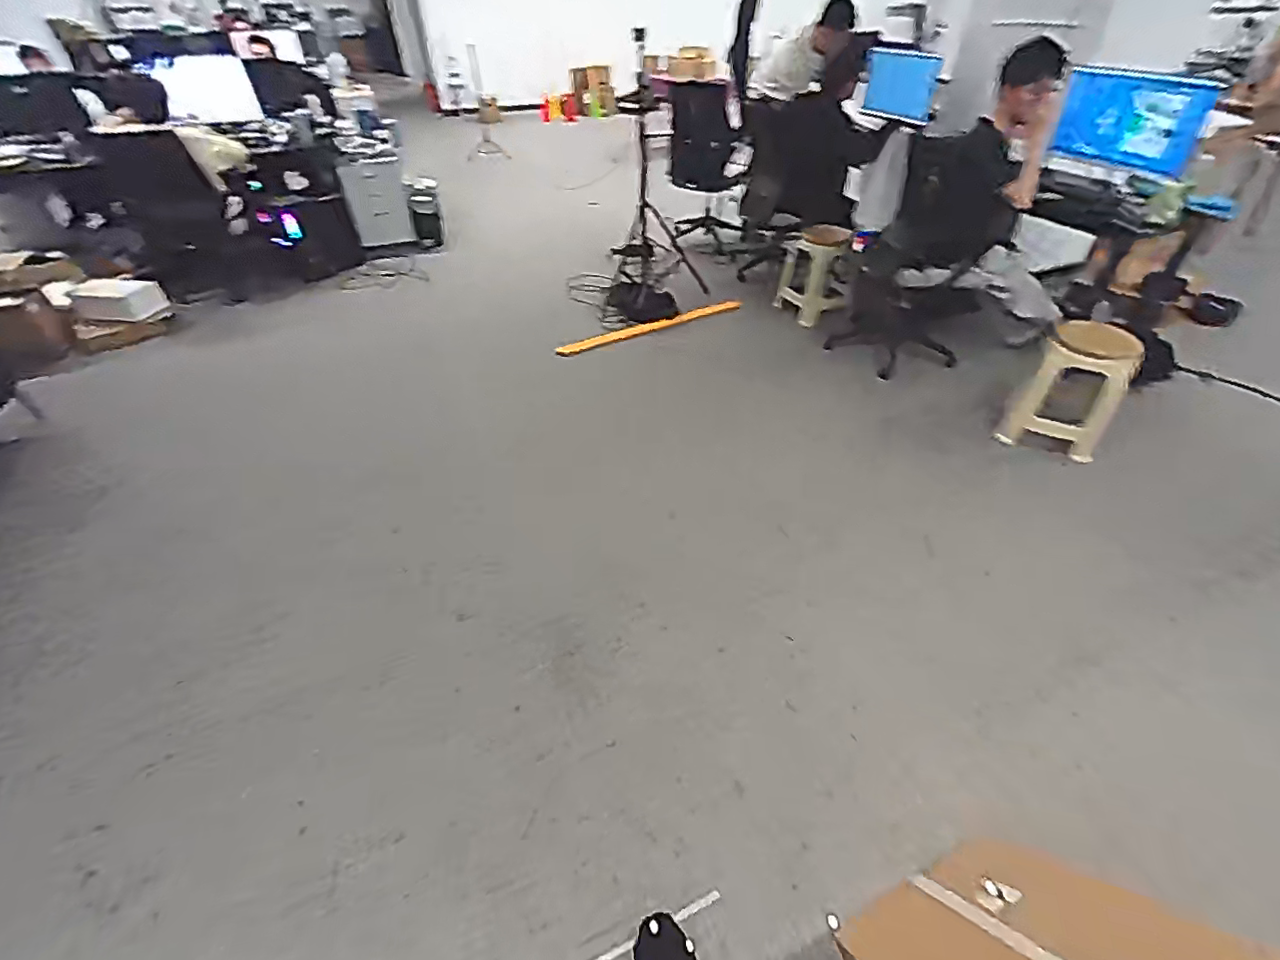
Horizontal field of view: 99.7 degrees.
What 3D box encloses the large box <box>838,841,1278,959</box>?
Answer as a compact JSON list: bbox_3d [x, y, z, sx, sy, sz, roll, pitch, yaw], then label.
[{"bbox_3d":[0.525,0.718,0.638,0.320,0.408,0.320,-19,75,-14],"label":"large box"}]
